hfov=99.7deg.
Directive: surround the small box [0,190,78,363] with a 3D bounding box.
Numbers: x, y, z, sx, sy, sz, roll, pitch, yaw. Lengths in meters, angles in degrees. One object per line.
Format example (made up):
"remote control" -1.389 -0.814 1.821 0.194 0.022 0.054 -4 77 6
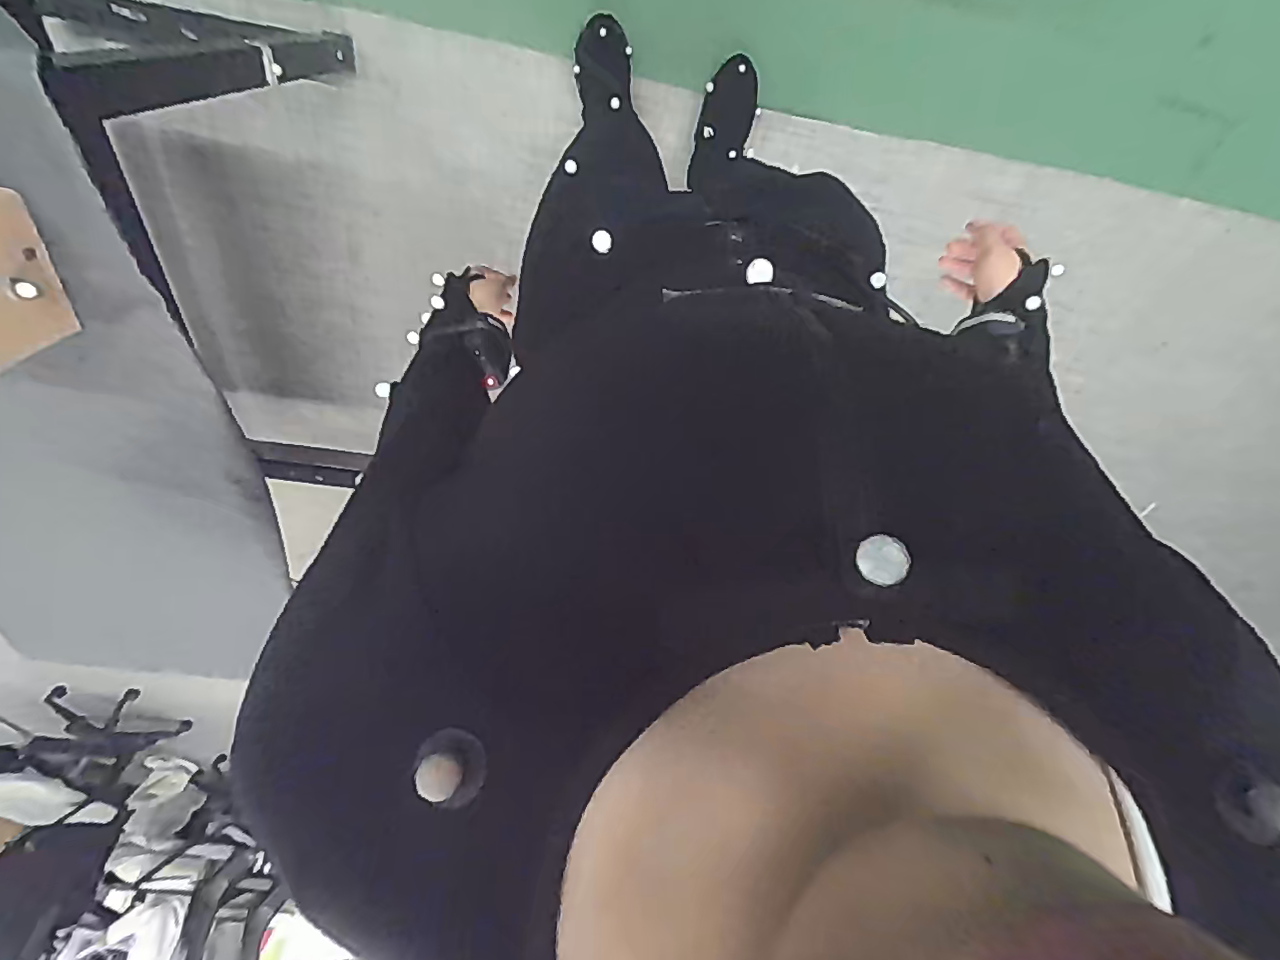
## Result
"small box" -0.762 -0.212 0.552 0.179 0.176 0.168 13 131 -8
